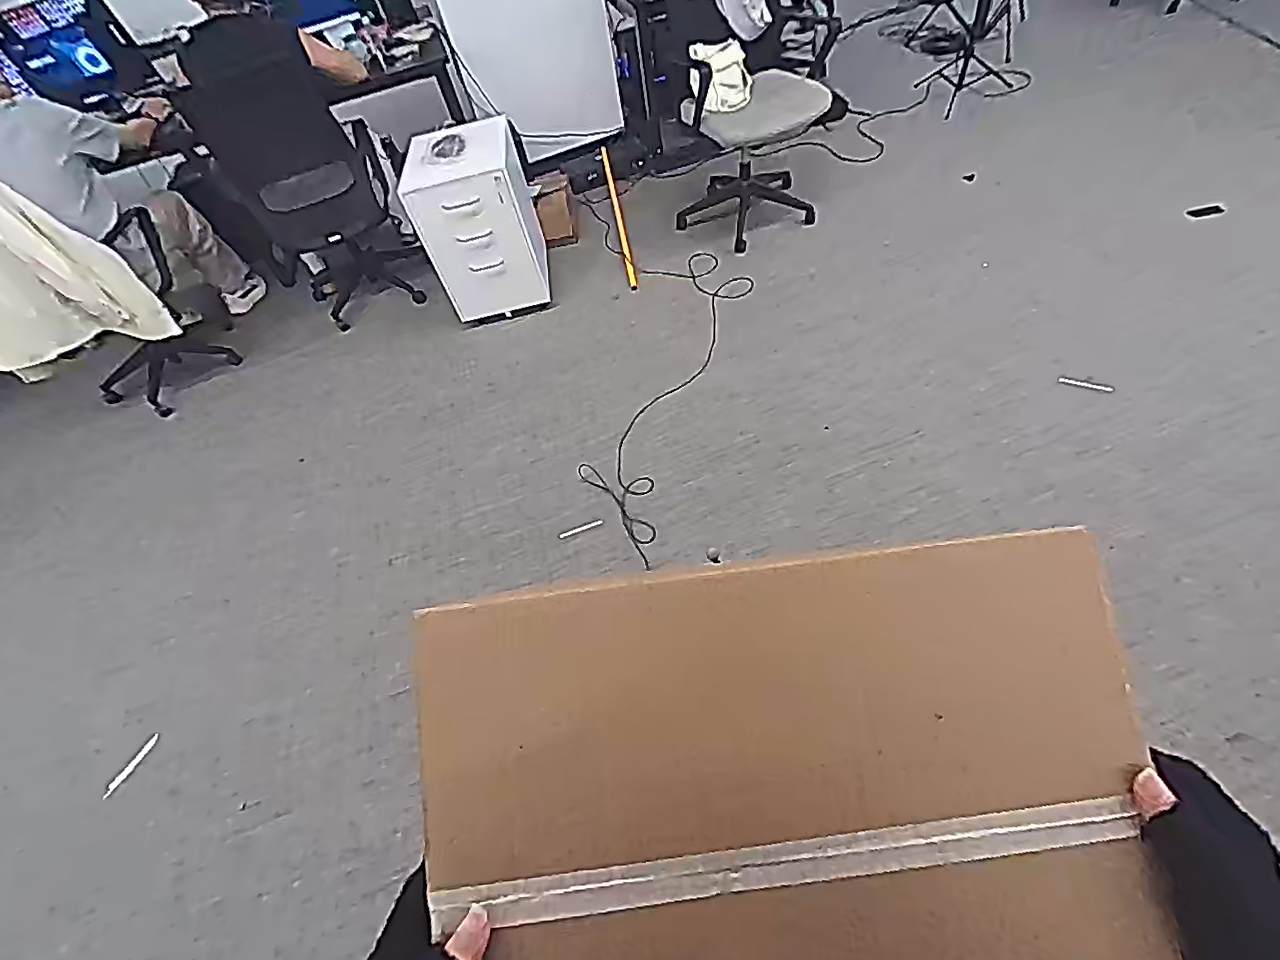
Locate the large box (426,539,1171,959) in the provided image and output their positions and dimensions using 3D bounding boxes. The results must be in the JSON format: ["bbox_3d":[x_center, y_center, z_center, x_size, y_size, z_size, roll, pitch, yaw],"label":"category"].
[{"bbox_3d":[0.090,0.234,0.455,0.408,0.320,0.320,-8,81,-1],"label":"large box"}]
